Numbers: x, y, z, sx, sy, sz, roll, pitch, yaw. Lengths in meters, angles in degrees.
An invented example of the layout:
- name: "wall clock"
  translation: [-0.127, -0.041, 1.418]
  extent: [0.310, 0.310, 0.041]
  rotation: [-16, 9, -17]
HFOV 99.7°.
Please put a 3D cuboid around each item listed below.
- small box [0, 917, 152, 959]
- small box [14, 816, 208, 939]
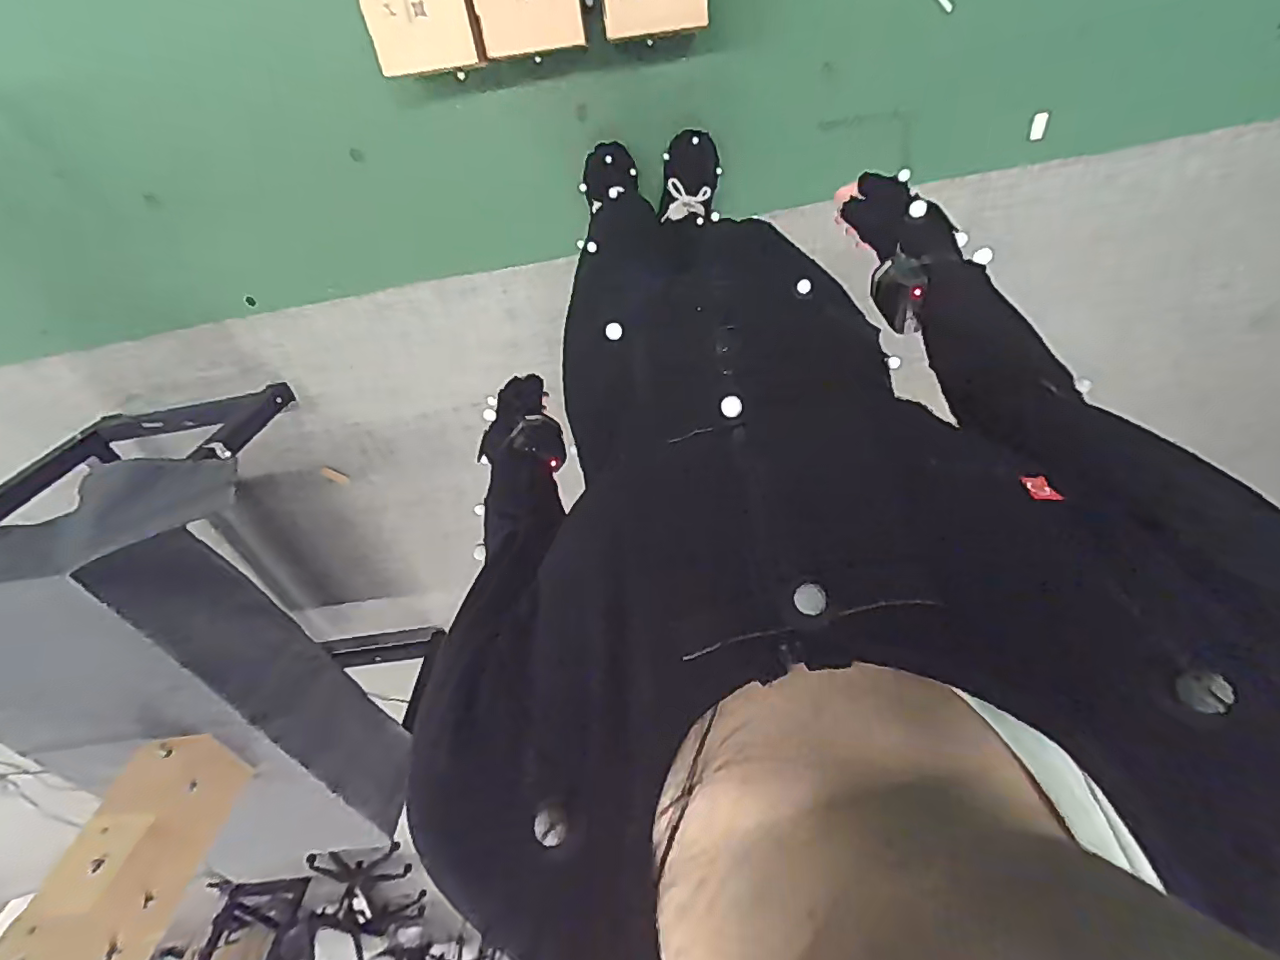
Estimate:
- name: "small box"
  translation: [-1.036, 0.890, 0.946]
  extent: [0.168, 0.176, 0.179]
  rotation: [-8, 126, 5]
- name: "small box"
  translation: [-1.033, 0.790, 1.076]
  extent: [0.168, 0.176, 0.179]
  rotation: [-9, 126, 6]
